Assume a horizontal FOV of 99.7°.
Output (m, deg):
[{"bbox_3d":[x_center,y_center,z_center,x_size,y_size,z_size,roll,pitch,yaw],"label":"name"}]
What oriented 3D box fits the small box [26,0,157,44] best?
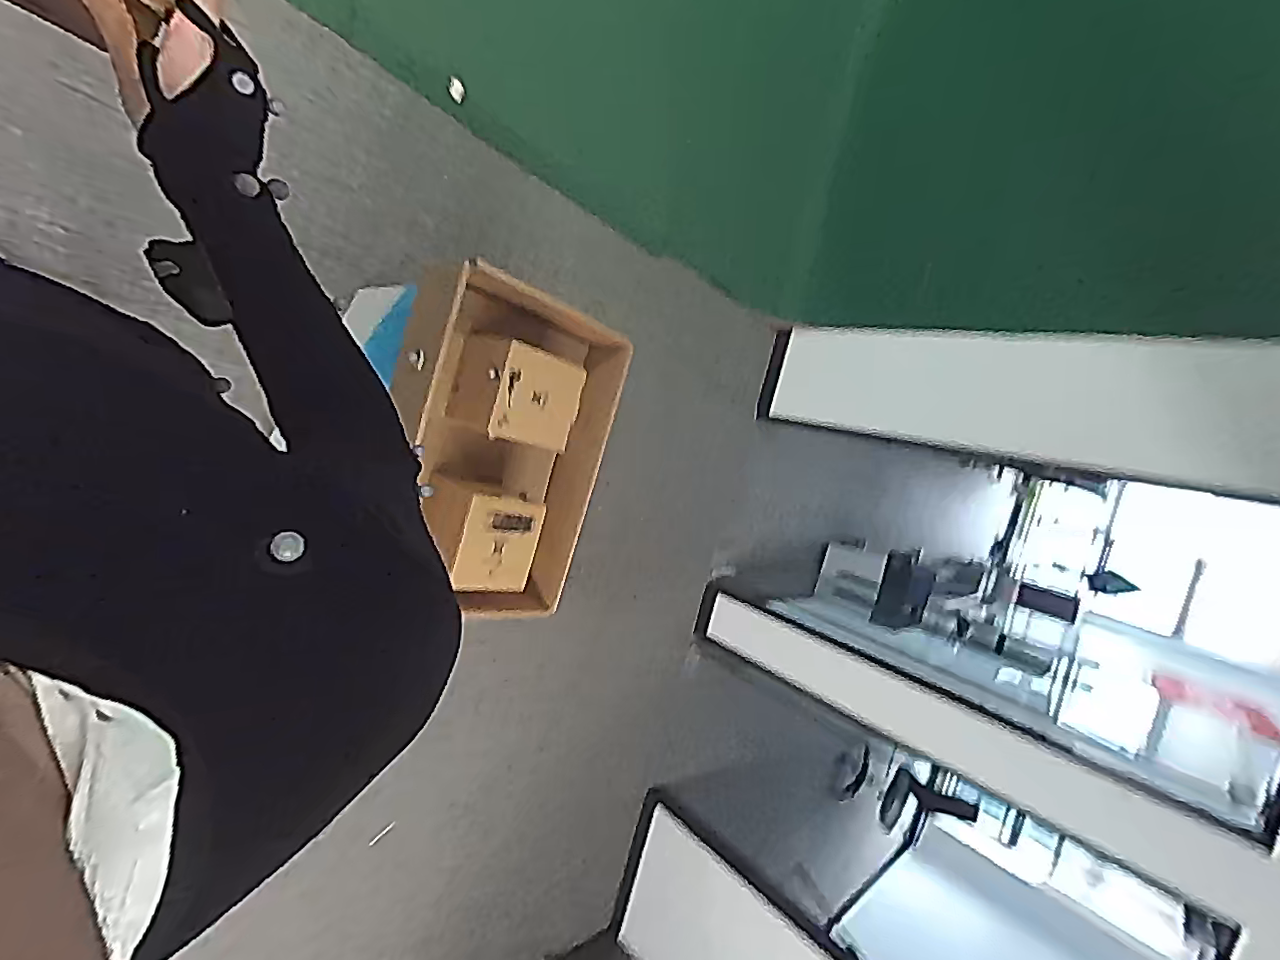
[{"bbox_3d":[-0.402,-0.429,0.336,0.168,0.176,0.179,10,100,-49],"label":"small box"}]
